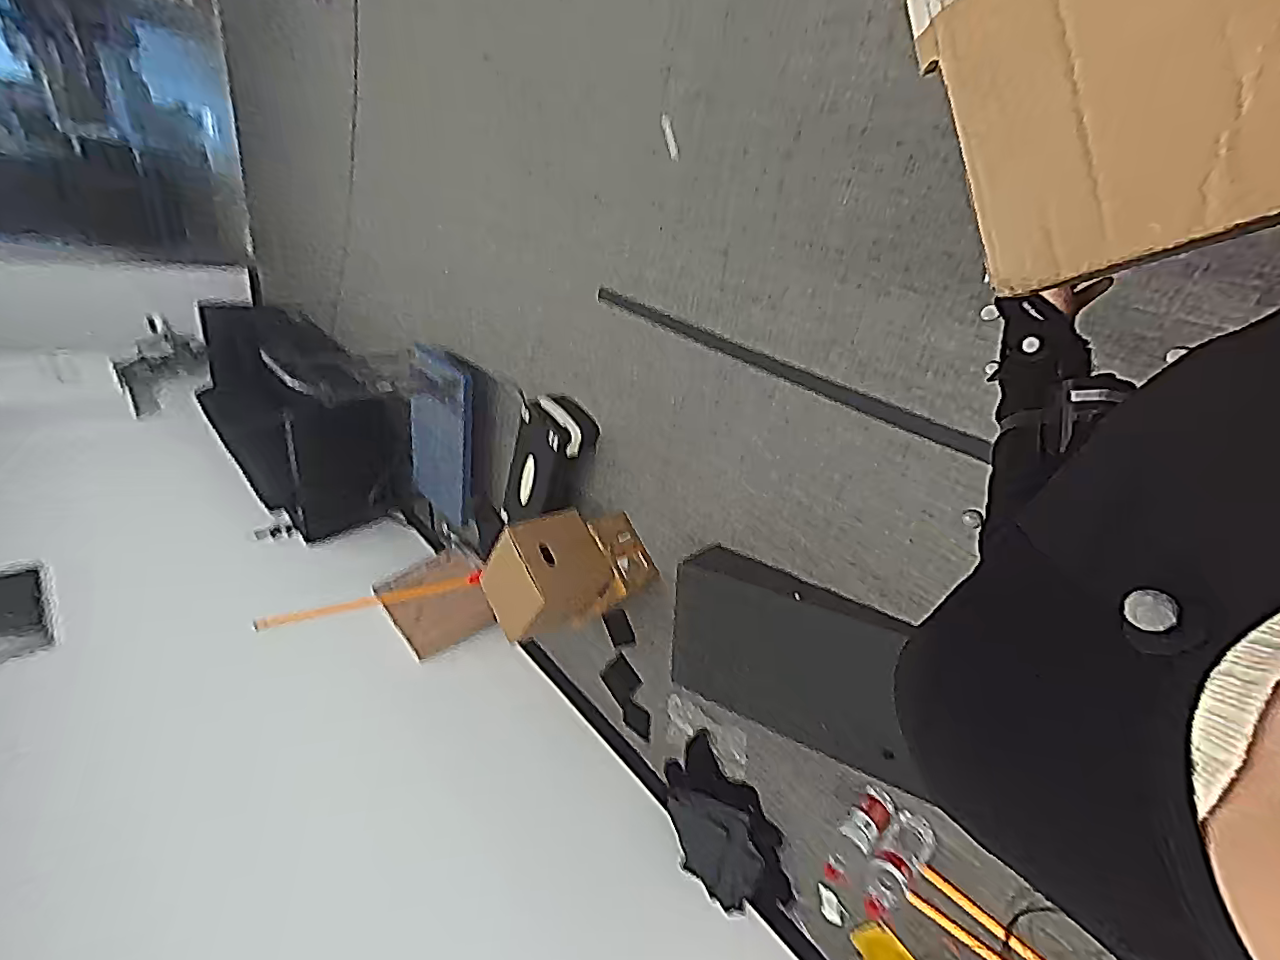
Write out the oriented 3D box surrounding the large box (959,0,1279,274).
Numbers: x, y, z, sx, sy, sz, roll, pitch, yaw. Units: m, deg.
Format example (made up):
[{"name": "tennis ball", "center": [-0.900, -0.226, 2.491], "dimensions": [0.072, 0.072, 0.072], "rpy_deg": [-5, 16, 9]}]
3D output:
[{"name": "large box", "center": [0.389, -0.315, 0.225], "dimensions": [0.408, 0.320, 0.320], "rpy_deg": [-9, 100, 47]}]
